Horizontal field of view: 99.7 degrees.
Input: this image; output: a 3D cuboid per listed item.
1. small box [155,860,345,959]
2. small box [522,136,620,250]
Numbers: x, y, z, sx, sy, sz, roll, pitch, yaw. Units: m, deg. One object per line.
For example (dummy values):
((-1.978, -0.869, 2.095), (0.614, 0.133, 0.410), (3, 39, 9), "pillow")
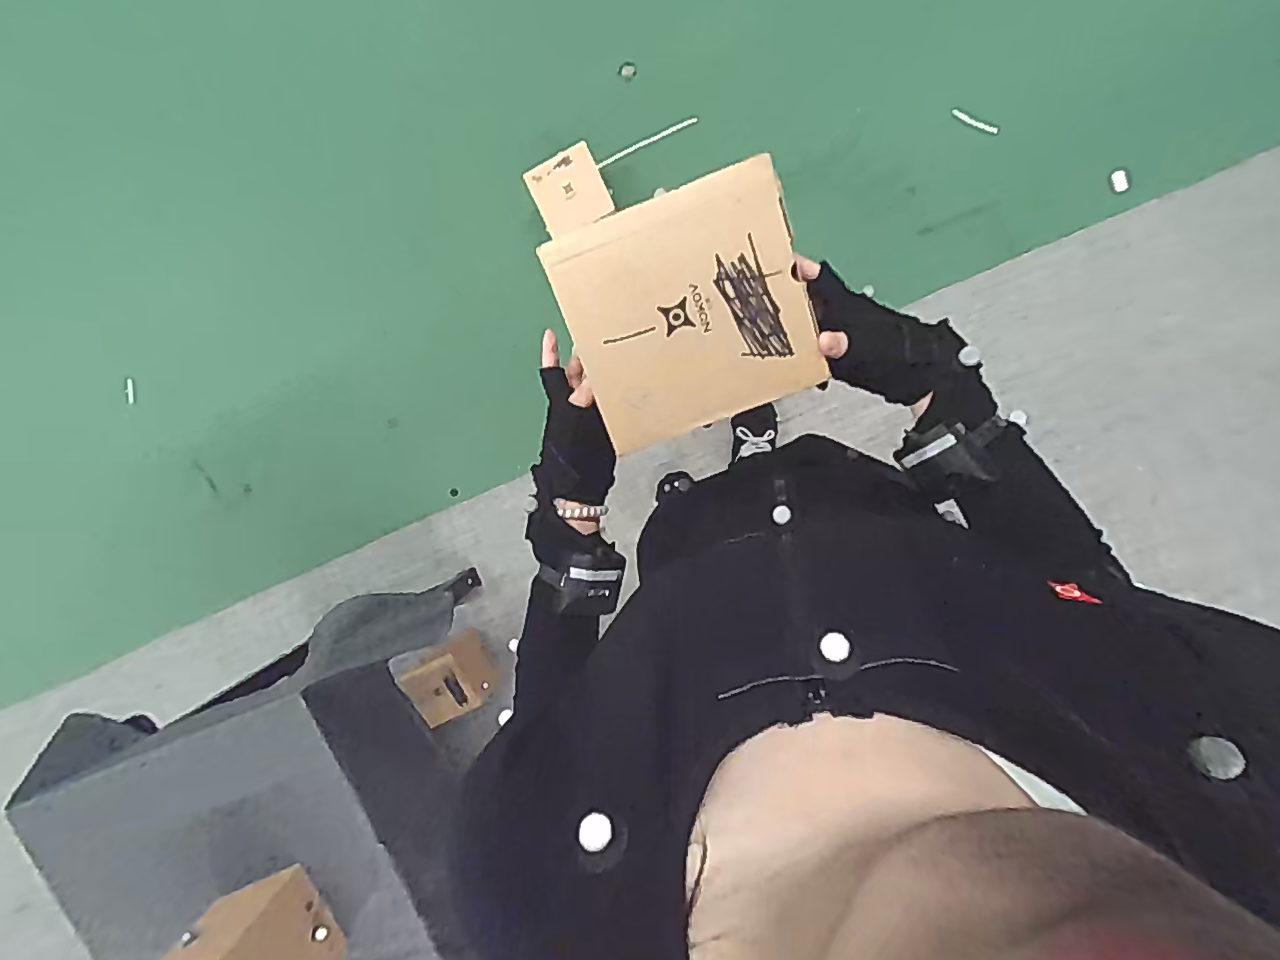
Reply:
((-0.602, 0.736, 0.825), (0.179, 0.176, 0.168), (-26, 96, 8), "small box")
((-0.159, -0.686, 1.322), (0.168, 0.176, 0.179), (-24, 97, 8), "small box")
